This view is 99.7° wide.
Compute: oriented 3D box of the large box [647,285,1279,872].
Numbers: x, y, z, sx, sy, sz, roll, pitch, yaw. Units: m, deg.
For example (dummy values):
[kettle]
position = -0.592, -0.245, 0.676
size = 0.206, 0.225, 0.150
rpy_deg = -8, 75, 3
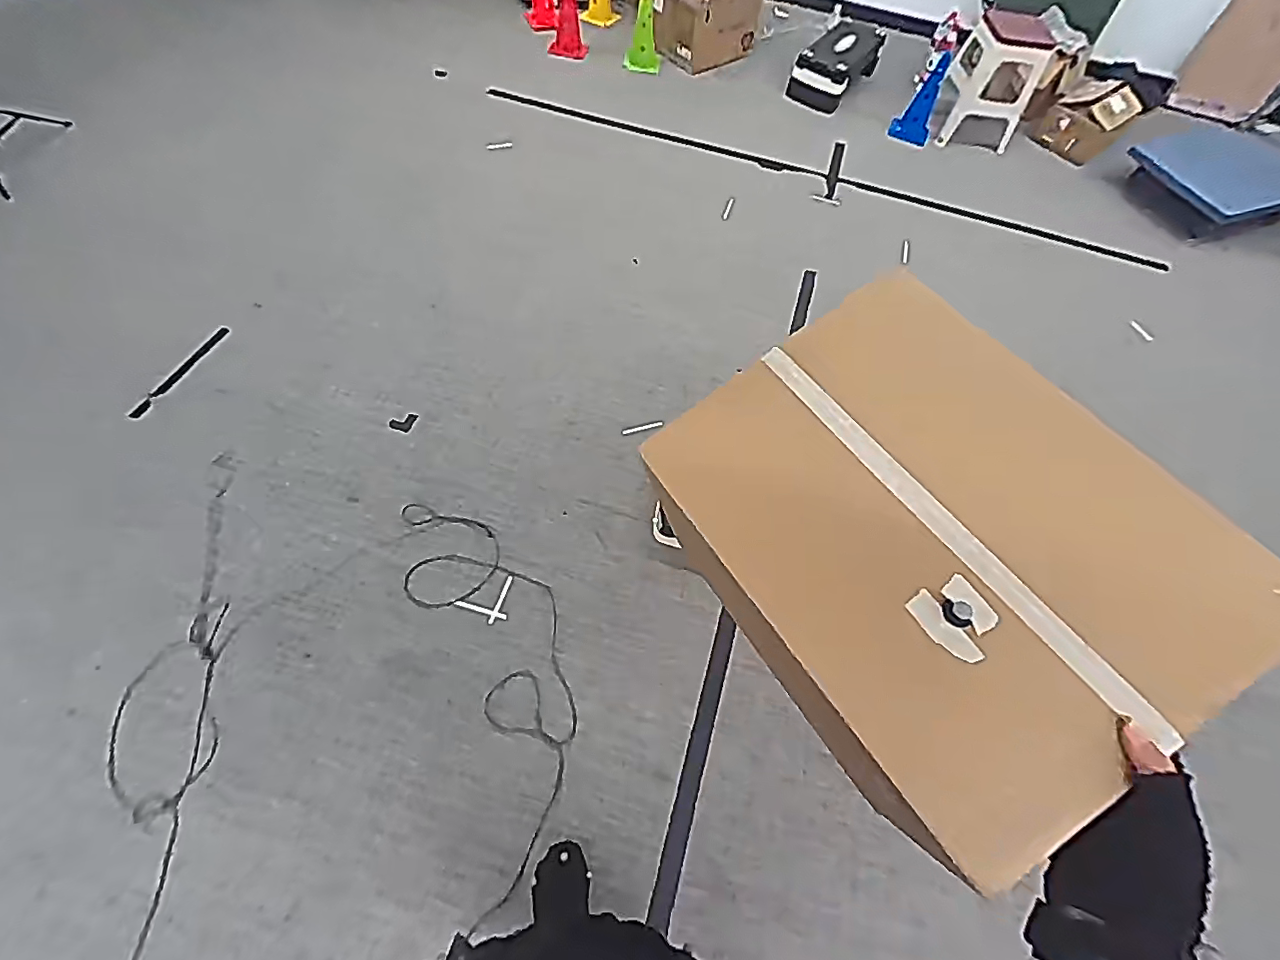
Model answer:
[large box]
position = 0.261, 0.087, 0.583
size = 0.320, 0.320, 0.408
rpy_deg = -36, 66, -3
